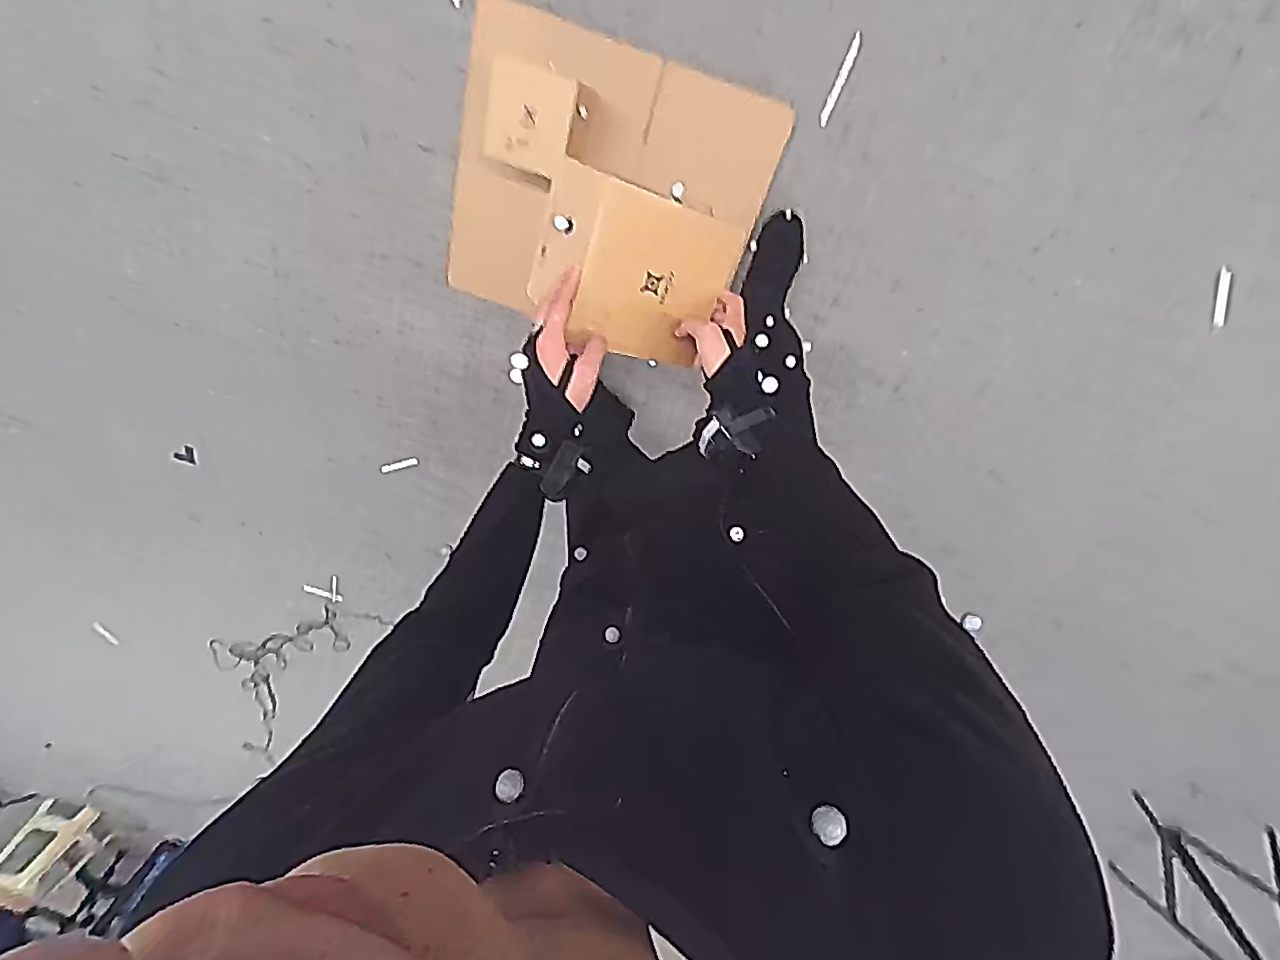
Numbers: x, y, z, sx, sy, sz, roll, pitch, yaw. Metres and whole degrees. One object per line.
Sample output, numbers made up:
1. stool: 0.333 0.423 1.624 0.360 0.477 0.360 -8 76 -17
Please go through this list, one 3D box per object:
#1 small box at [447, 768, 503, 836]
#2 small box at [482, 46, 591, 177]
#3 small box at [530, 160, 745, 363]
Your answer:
1. small box: -0.701 1.374 2.308 0.168 0.176 0.179 20 121 -6
2. small box: -0.207 -0.748 1.113 0.168 0.176 0.179 18 122 -3
3. small box: -0.016 -0.261 0.643 0.179 0.176 0.168 4 122 -31
